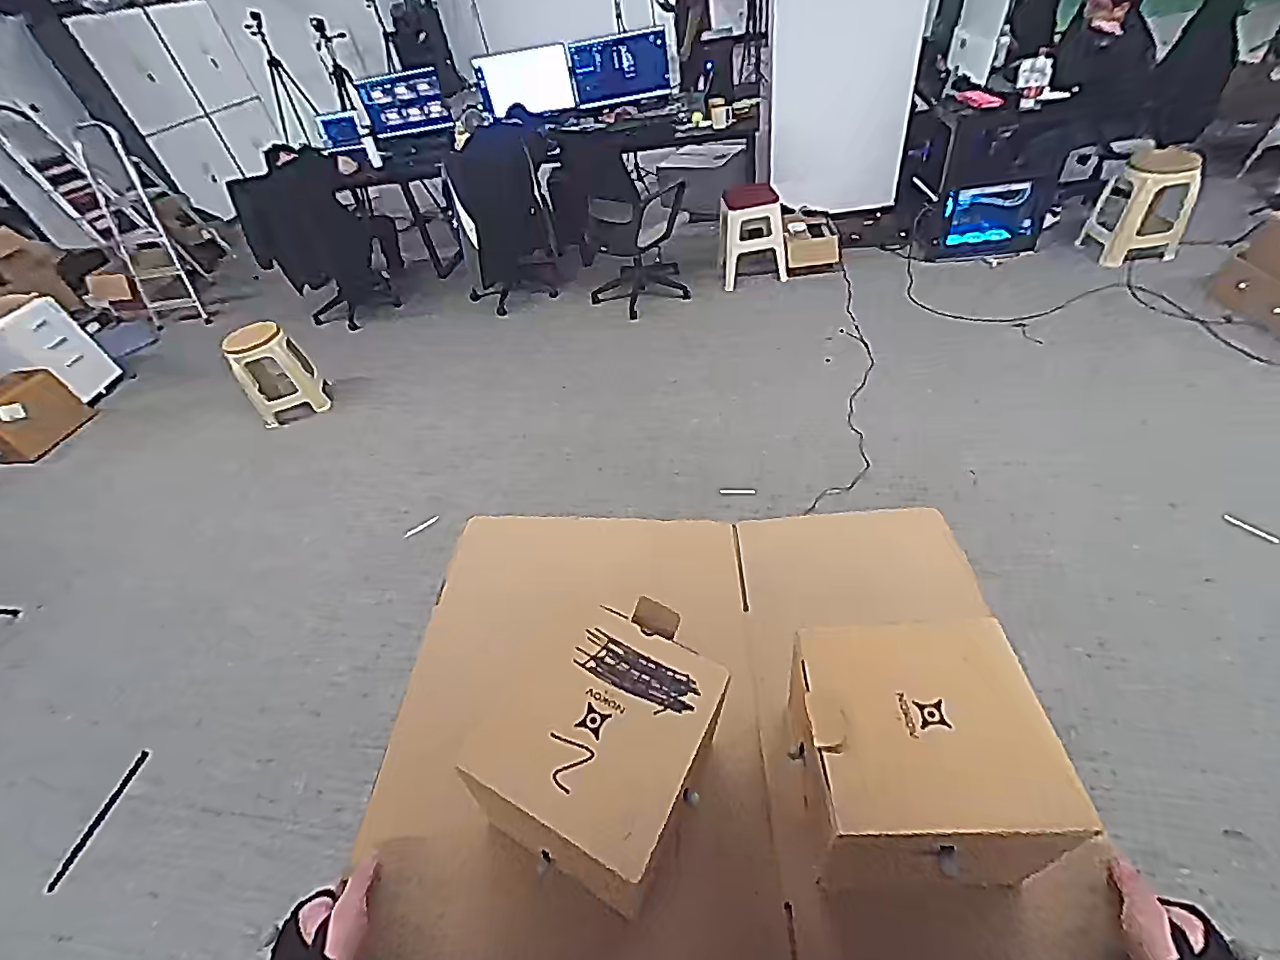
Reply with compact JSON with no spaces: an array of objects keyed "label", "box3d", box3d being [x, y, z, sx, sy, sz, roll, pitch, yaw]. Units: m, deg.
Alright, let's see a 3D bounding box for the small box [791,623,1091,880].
[{"label":"small box","box3d":[0.243,0.250,0.496,0.179,0.176,0.168,-6,44,7]}]
